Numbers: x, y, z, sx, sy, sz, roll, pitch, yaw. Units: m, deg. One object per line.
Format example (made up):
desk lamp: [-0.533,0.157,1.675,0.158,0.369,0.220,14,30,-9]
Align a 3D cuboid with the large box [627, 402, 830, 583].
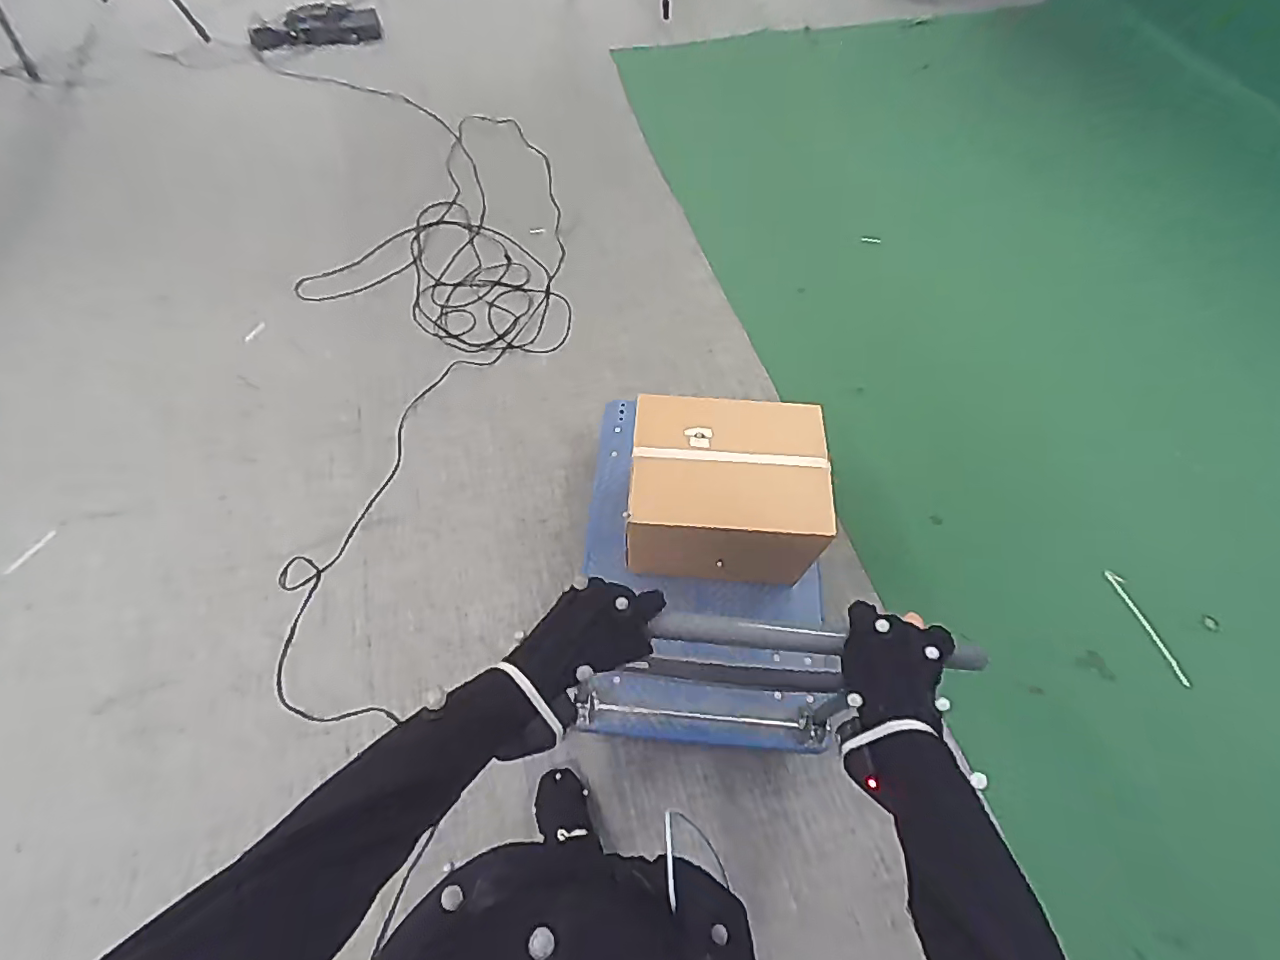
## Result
large box: [0.182,0.040,1.253,0.408,0.320,0.320,4,61,1]
